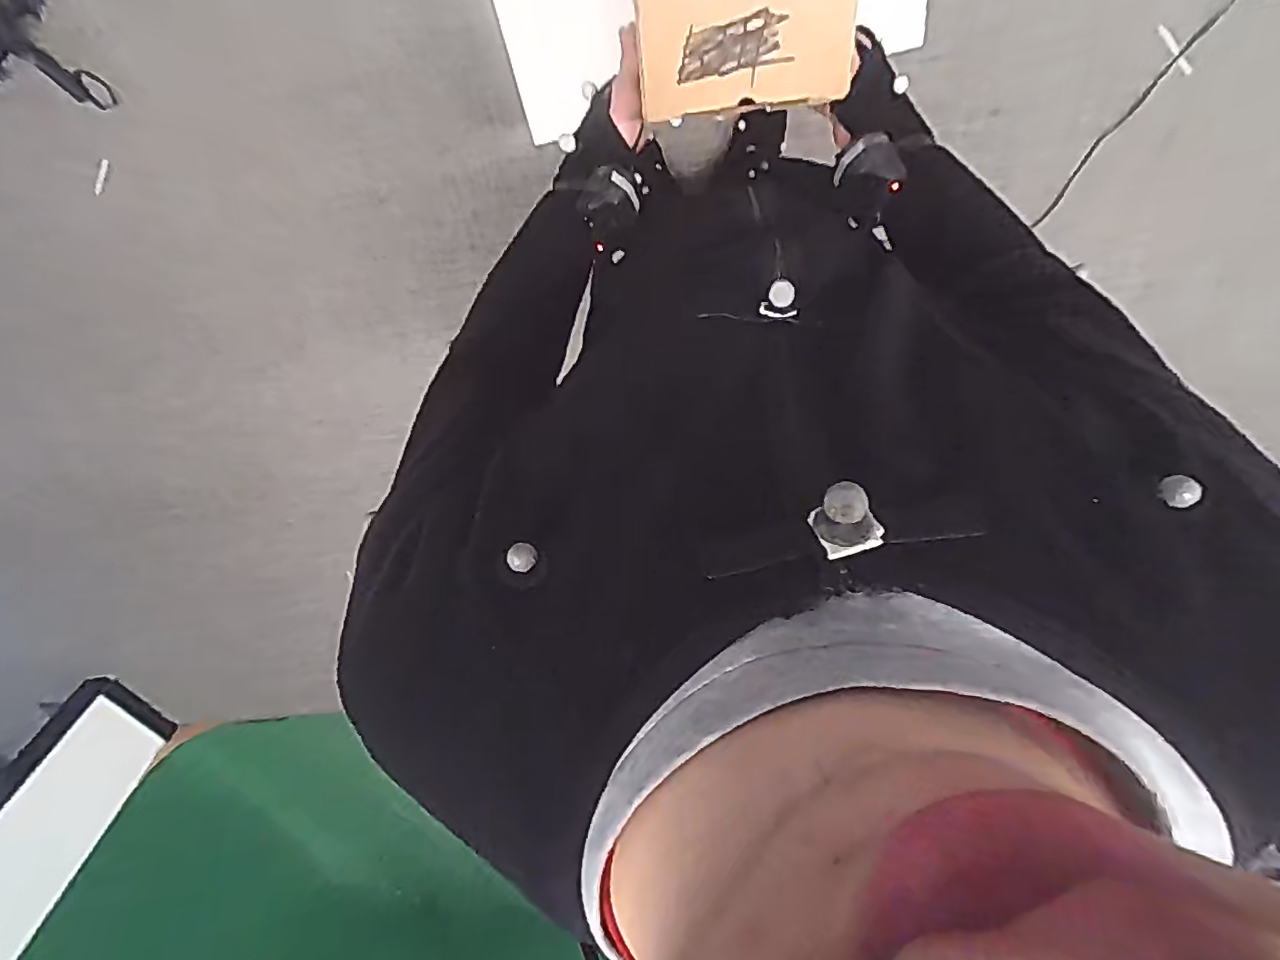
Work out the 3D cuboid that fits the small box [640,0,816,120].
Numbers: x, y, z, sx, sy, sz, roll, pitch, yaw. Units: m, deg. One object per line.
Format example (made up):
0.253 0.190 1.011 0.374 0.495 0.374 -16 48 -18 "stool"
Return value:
0.087 -0.514 0.589 0.168 0.176 0.179 -9 126 7 "small box"
